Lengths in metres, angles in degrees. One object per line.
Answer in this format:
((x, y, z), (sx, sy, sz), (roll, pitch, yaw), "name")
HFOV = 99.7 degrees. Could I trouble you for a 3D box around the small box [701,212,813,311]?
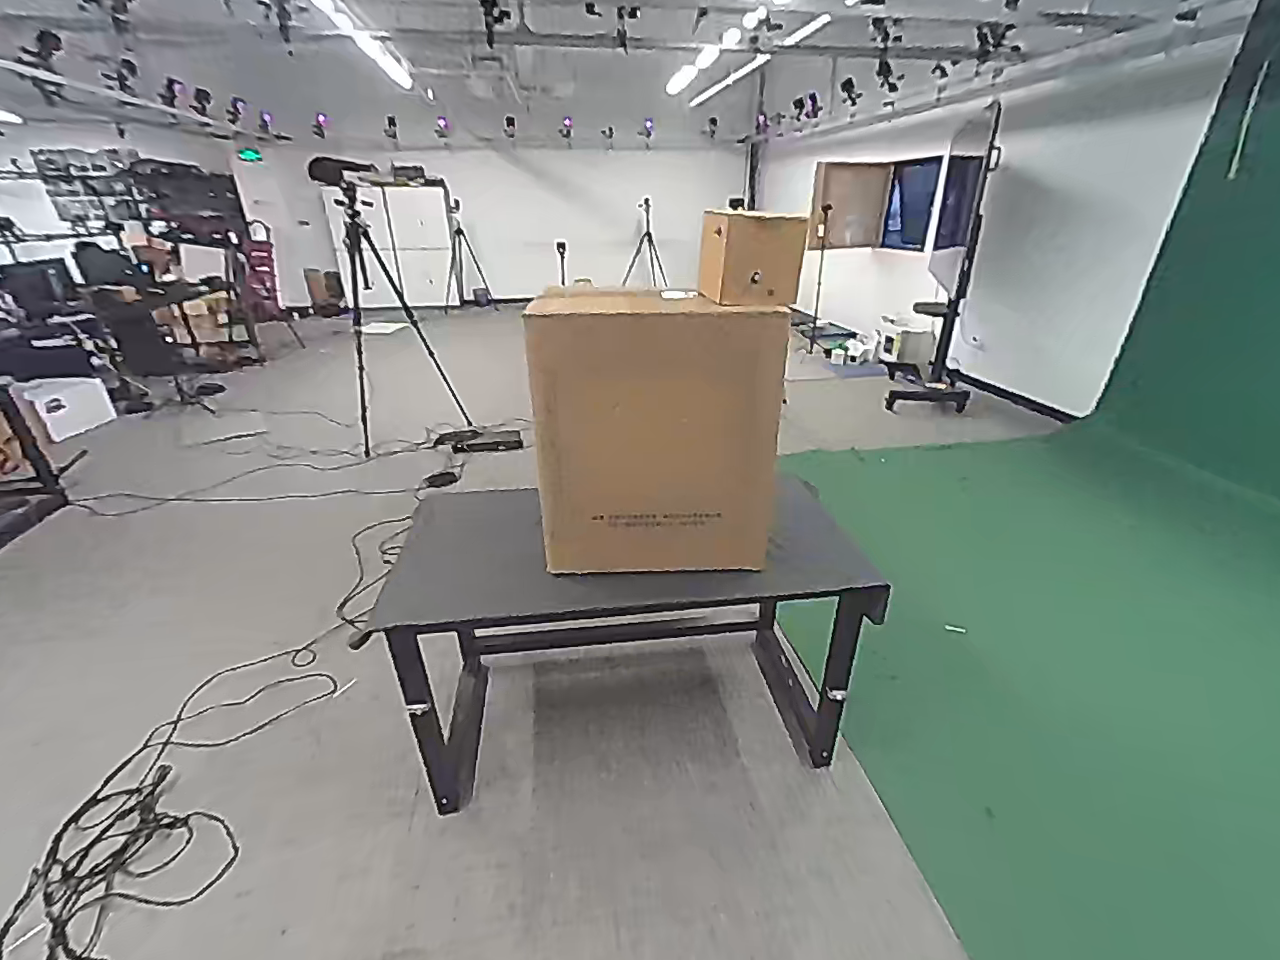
((0.231, -0.456, 1.122), (0.168, 0.176, 0.179), (-3, 29, -10), "small box")
